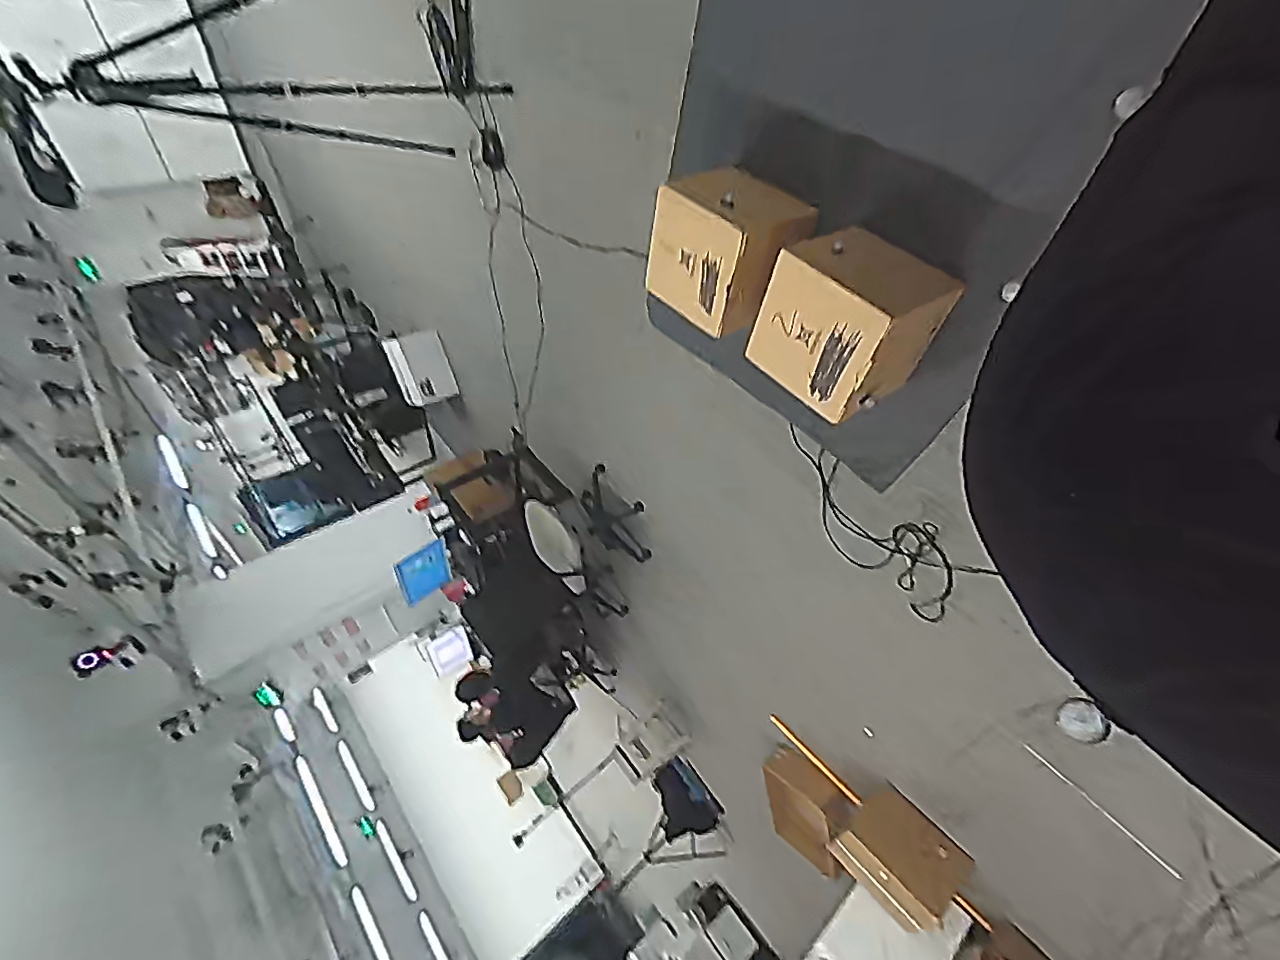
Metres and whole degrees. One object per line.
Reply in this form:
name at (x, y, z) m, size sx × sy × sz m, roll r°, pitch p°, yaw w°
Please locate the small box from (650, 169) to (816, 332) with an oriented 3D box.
small box at (0.142, -0.365, 0.847) m, size 0.179 × 0.176 × 0.168 m, roll 44°, pitch 146°, yaw 27°
